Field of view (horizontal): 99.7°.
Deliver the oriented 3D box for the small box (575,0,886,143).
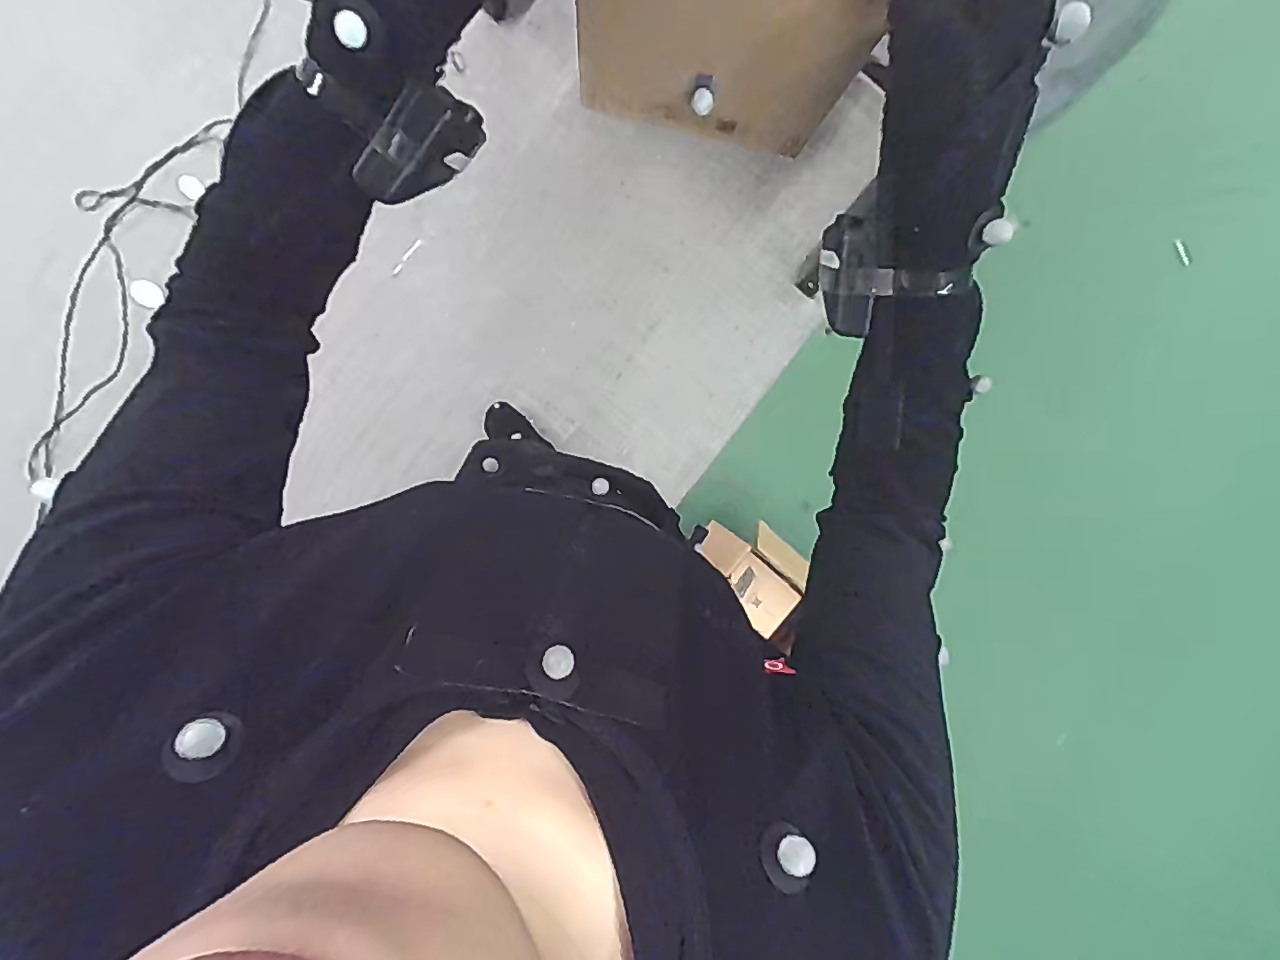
[{"bbox_3d":[0.054,-0.341,0.311,0.168,0.176,0.179,9,93,-5],"label":"small box"}]
